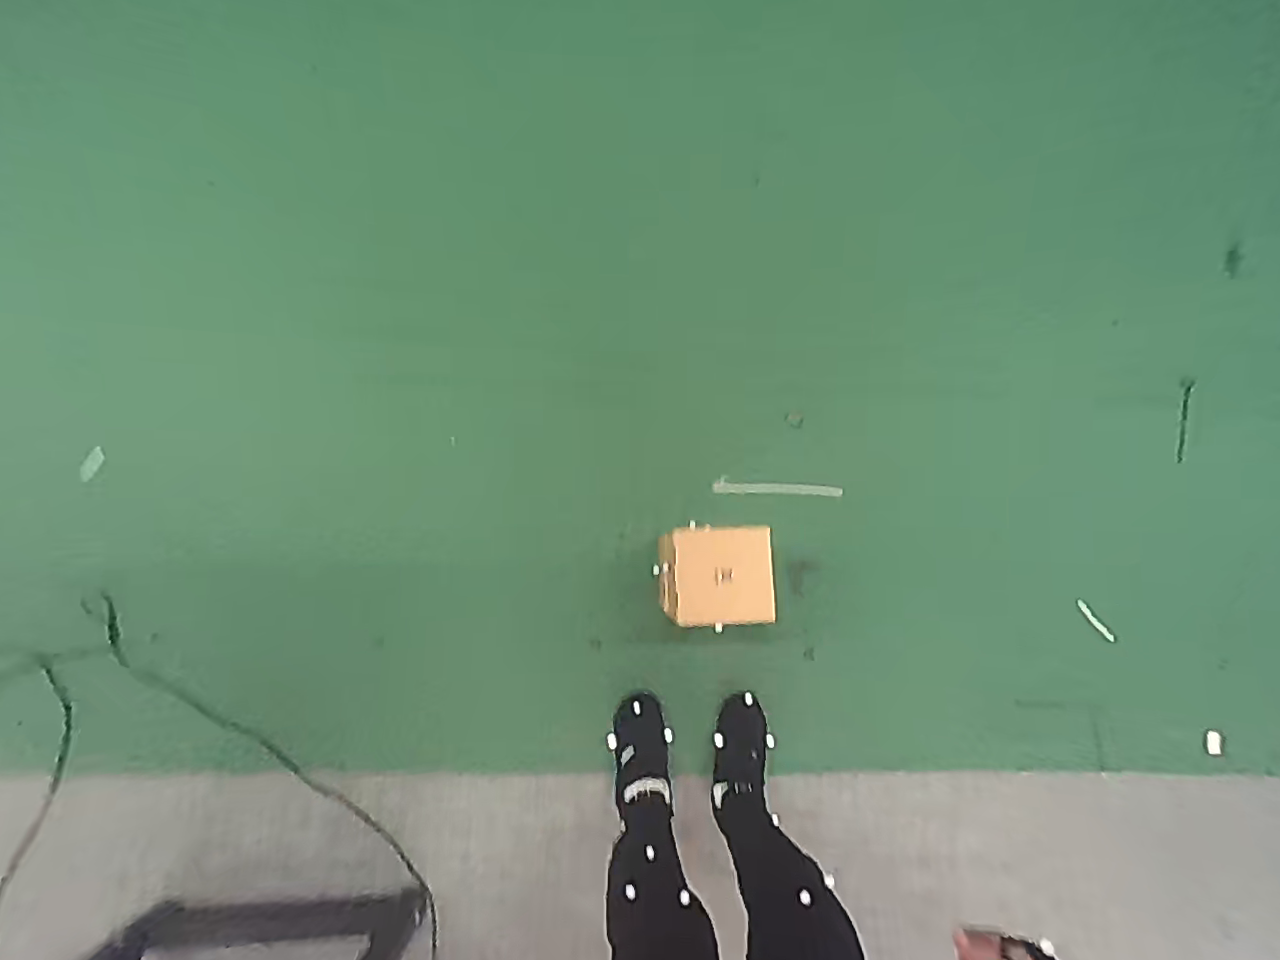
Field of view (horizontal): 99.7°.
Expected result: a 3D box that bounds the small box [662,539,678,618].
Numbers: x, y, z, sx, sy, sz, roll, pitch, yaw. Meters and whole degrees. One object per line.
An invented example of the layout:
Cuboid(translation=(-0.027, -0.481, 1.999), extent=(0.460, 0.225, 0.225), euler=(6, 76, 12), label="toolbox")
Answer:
Cuboid(translation=(0.142, 0.215, 1.198), extent=(0.179, 0.176, 0.168), euler=(1, 82, -1), label="small box")

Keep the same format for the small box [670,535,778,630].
Cuboid(translation=(0.153, 0.190, 1.037), extent=(0.179, 0.176, 0.168), euler=(-3, 82, 0), label="small box")
